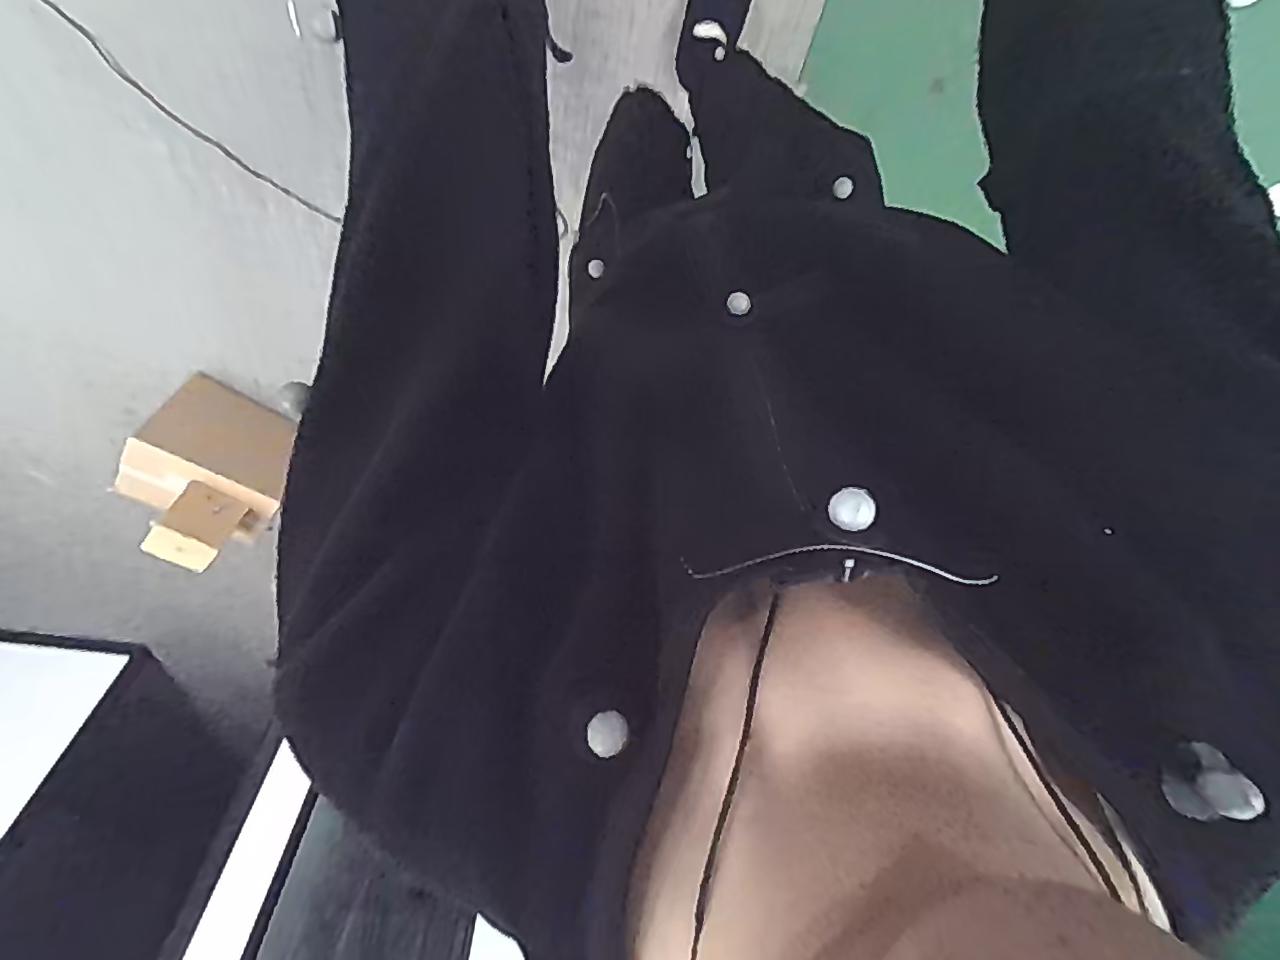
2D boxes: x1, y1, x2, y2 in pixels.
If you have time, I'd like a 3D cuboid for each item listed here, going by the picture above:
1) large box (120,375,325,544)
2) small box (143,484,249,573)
[{"bbox_3d":[-1.330,-0.058,1.753,0.408,0.320,0.320,34,128,-27],"label":"large box"},{"bbox_3d":[-1.314,0.143,1.609,0.179,0.176,0.168,-32,126,32],"label":"small box"}]
